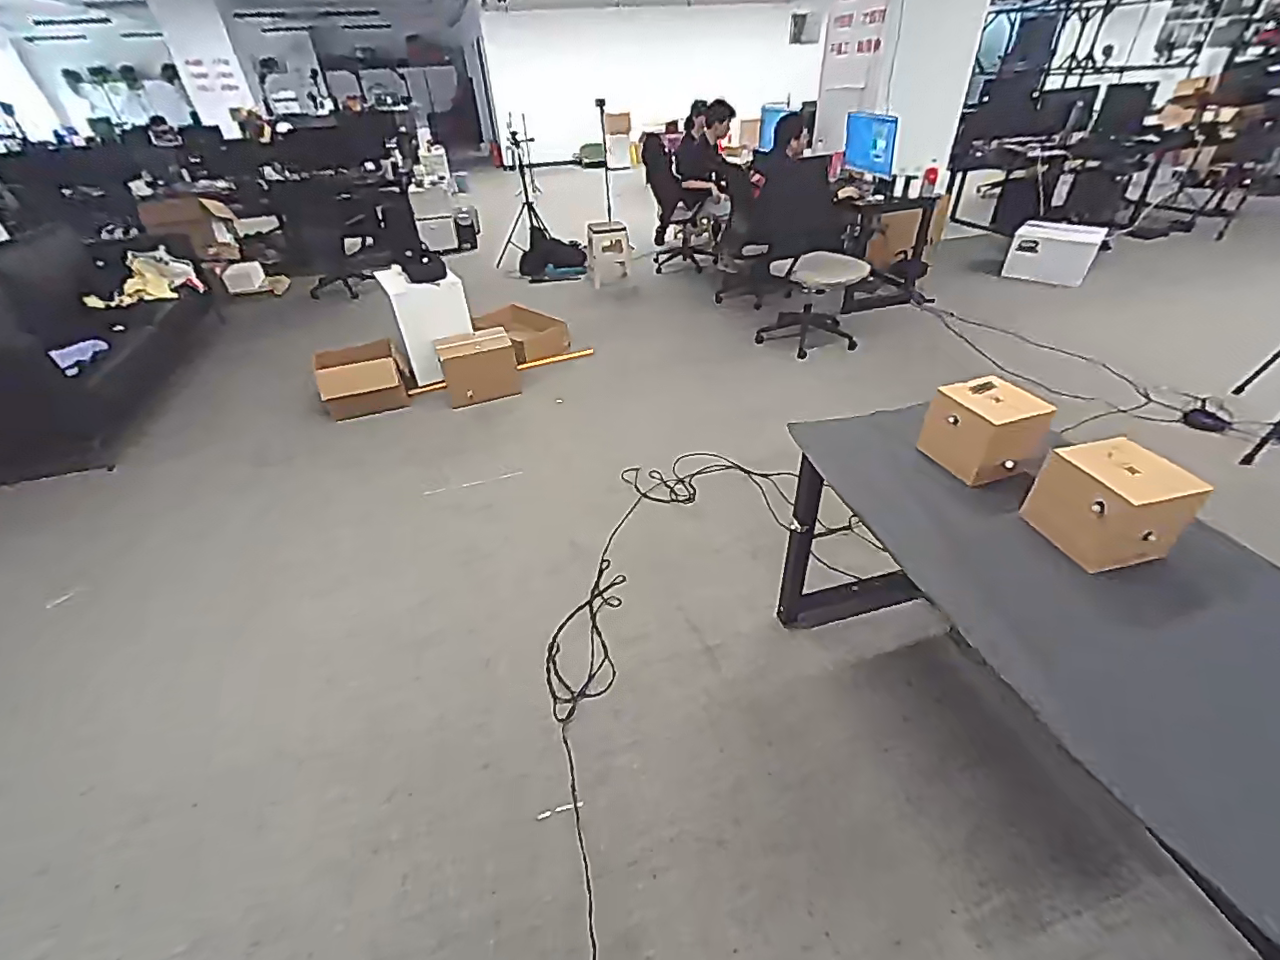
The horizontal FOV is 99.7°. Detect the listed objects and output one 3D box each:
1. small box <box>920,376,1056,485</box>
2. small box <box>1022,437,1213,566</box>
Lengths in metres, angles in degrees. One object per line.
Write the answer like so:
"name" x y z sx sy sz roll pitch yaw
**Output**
"small box" 0.781 -0.114 1.236 0.168 0.176 0.179 -14 39 -13
"small box" 0.880 0.044 1.018 0.168 0.176 0.179 -10 37 -9
